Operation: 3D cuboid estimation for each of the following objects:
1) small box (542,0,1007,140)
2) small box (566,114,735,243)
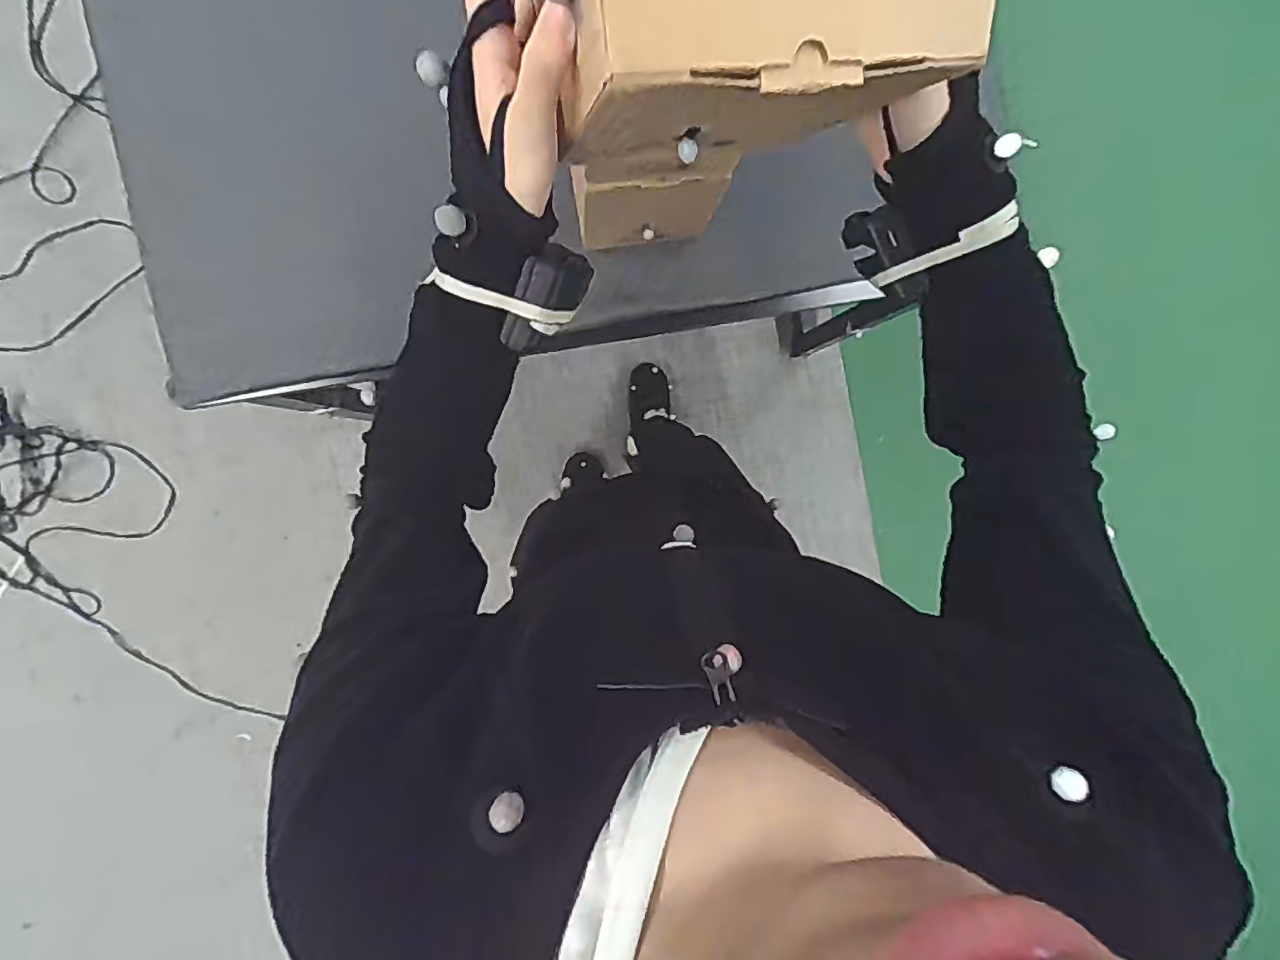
[{"bbox_3d":[0.040,-0.277,0.244,0.168,0.176,0.179,-12,114,-11],"label":"small box"},{"bbox_3d":[0.002,-0.415,0.657,0.168,0.176,0.179,-10,93,-6],"label":"small box"}]
